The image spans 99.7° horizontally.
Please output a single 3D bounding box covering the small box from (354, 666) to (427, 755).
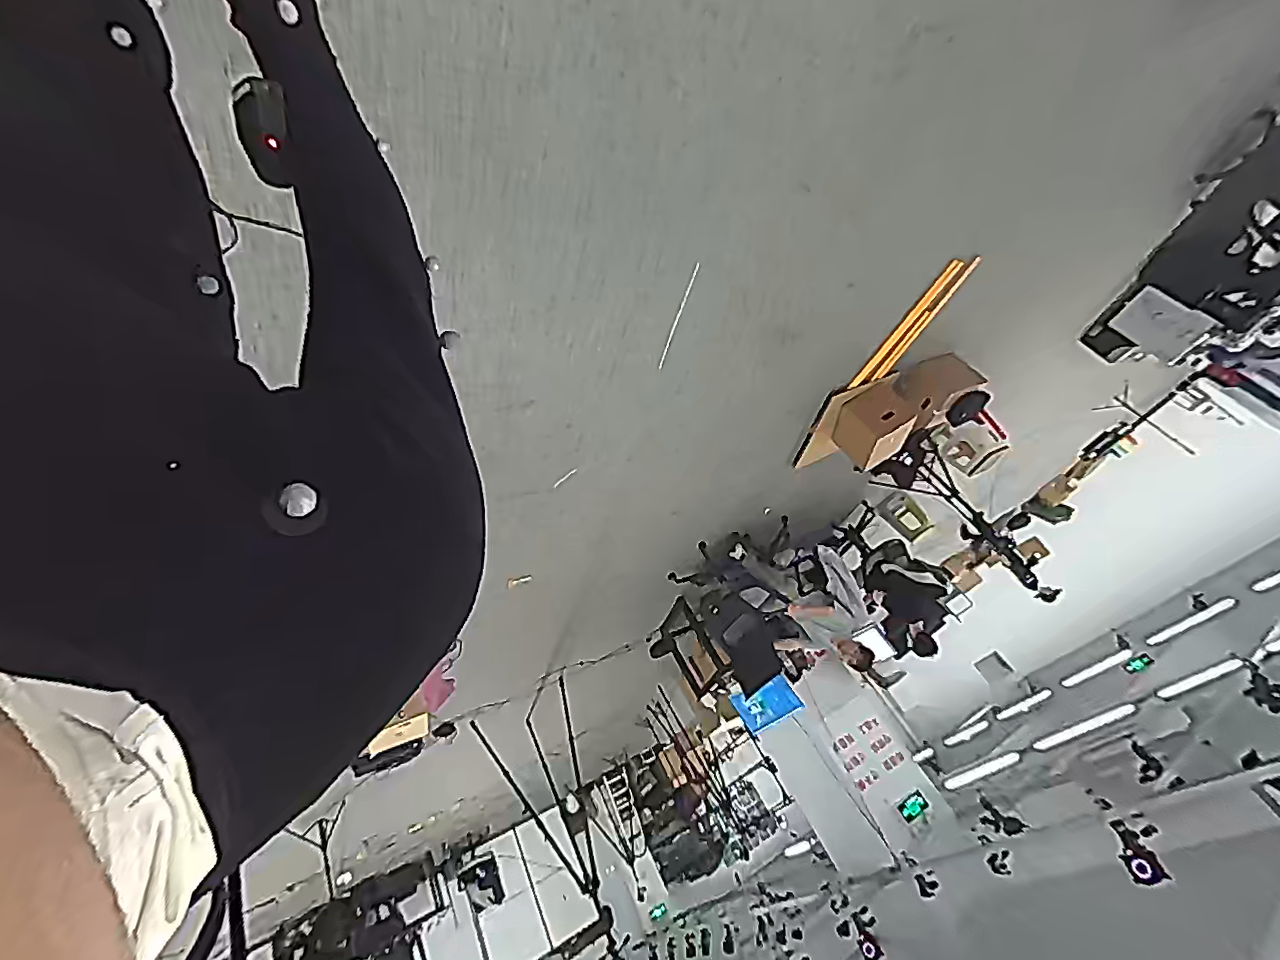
[{"bbox_3d":[-0.746,0.687,1.622,0.168,0.176,0.179,-13,145,-31],"label":"small box"}]
